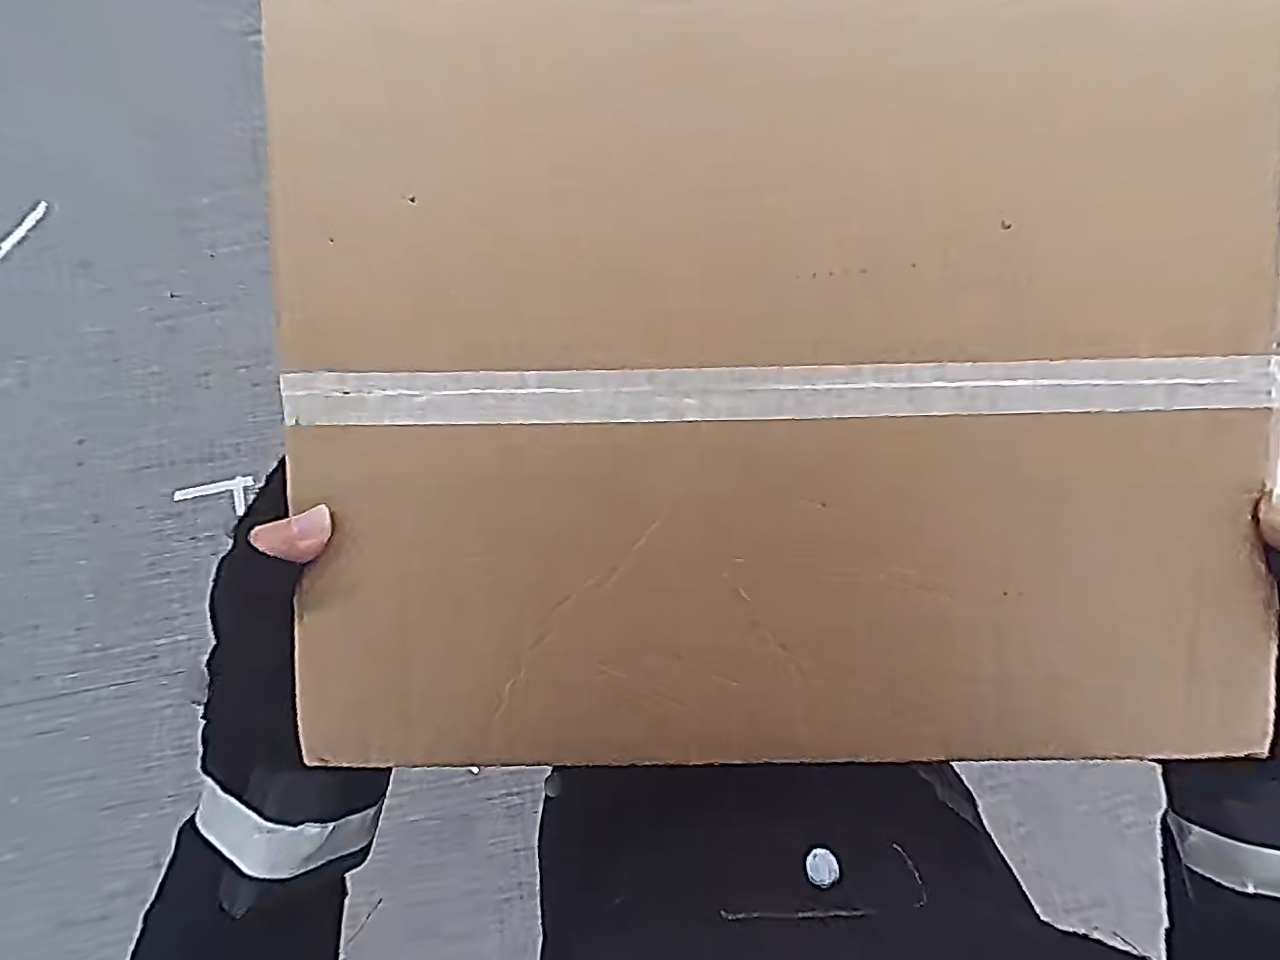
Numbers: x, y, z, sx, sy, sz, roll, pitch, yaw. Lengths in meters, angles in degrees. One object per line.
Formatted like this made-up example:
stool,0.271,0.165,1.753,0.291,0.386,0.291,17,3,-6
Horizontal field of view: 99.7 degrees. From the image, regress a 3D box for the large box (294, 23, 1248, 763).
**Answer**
large box,0.058,-0.040,0.382,0.408,0.320,0.320,-1,92,0
